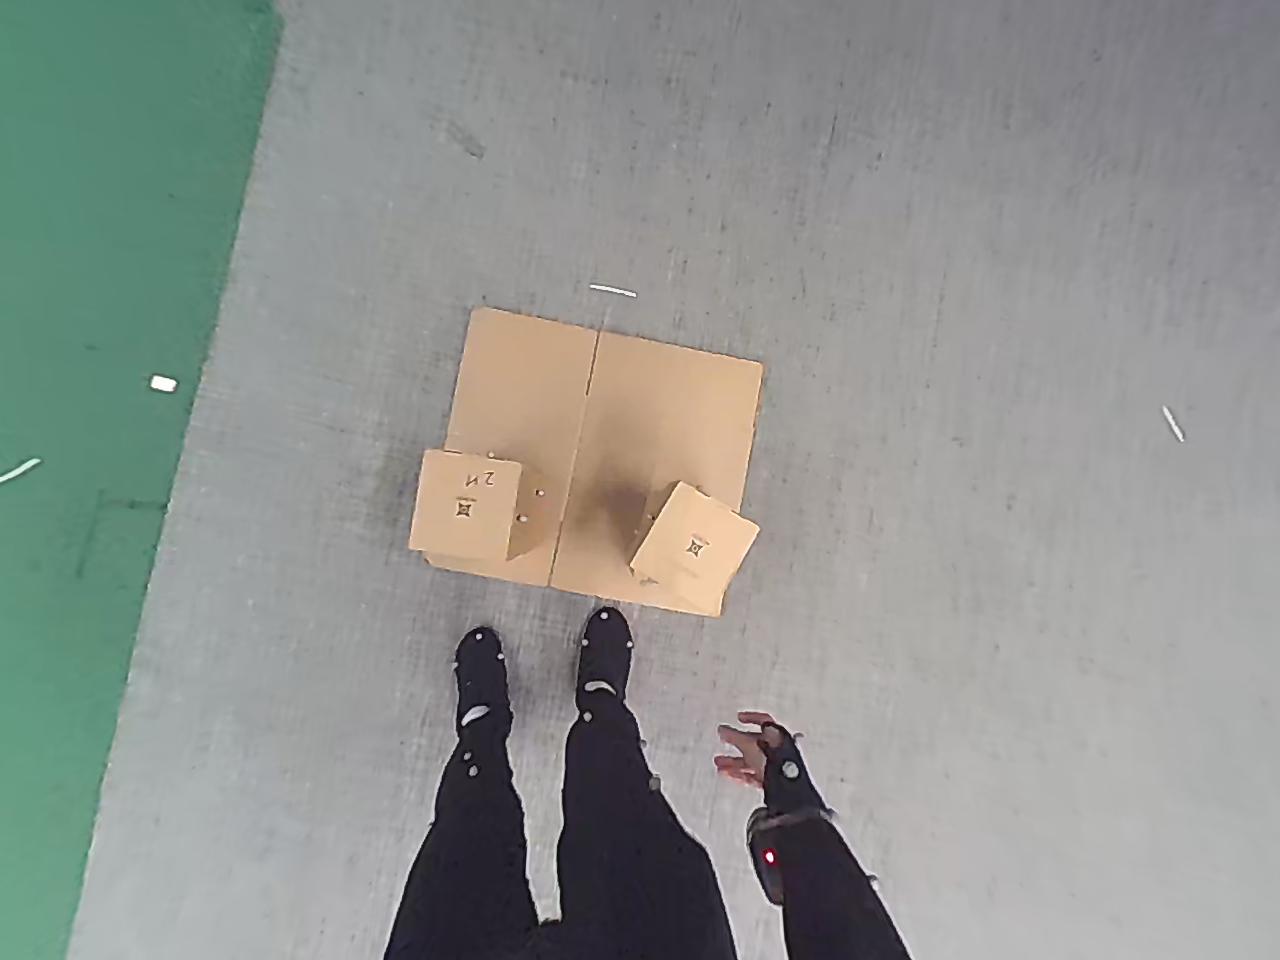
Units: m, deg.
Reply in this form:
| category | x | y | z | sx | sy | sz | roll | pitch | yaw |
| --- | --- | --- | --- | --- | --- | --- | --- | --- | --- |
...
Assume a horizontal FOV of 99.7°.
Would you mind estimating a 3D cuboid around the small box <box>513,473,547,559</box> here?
| category | x | y | z | sx | sy | sz | roll | pitch | yaw |
| --- | --- | --- | --- | --- | --- | --- | --- | --- | --- |
| small box | -0.299 | 0.063 | 1.151 | 0.168 | 0.176 | 0.179 | 9 | 86 | -2 |

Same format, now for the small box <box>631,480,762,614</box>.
| category | x | y | z | sx | sy | sz | roll | pitch | yaw |
| --- | --- | --- | --- | --- | --- | --- | --- | --- | --- |
| small box | 0.093 | 0.118 | 1.001 | 0.168 | 0.176 | 0.179 | 32 | 86 | -2 |

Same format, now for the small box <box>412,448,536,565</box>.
| category | x | y | z | sx | sy | sz | roll | pitch | yaw |
| --- | --- | --- | --- | --- | --- | --- | --- | --- | --- |
| small box | -0.291 | 0.048 | 0.986 | 0.168 | 0.176 | 0.179 | 10 | 86 | -3 |
